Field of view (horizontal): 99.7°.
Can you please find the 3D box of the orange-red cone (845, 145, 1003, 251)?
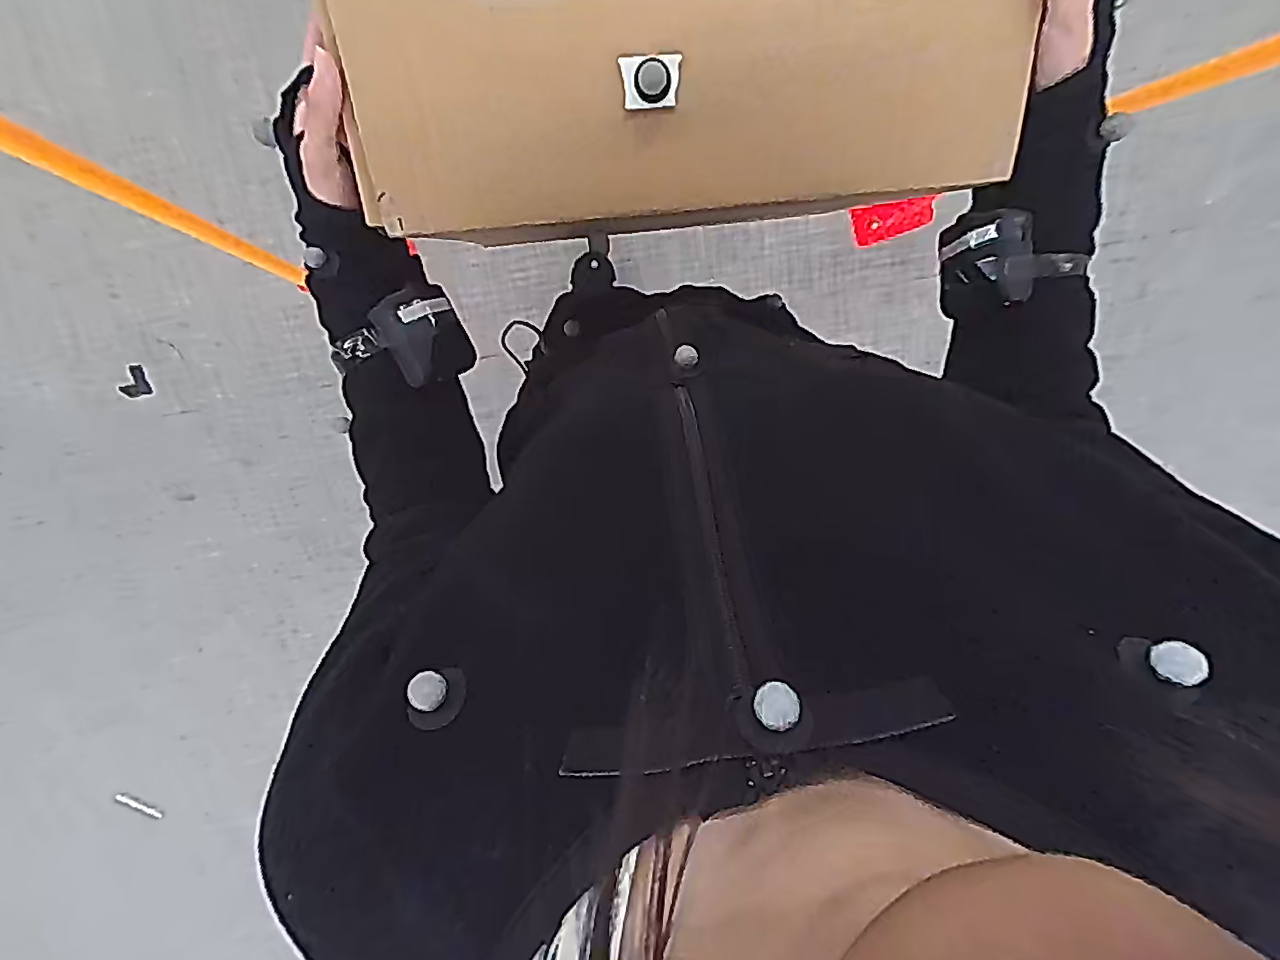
[{"bbox_3d":[0.606,-0.615,1.117,0.199,0.360,0.198,-19,108,-1],"label":"orange-red cone"}]
